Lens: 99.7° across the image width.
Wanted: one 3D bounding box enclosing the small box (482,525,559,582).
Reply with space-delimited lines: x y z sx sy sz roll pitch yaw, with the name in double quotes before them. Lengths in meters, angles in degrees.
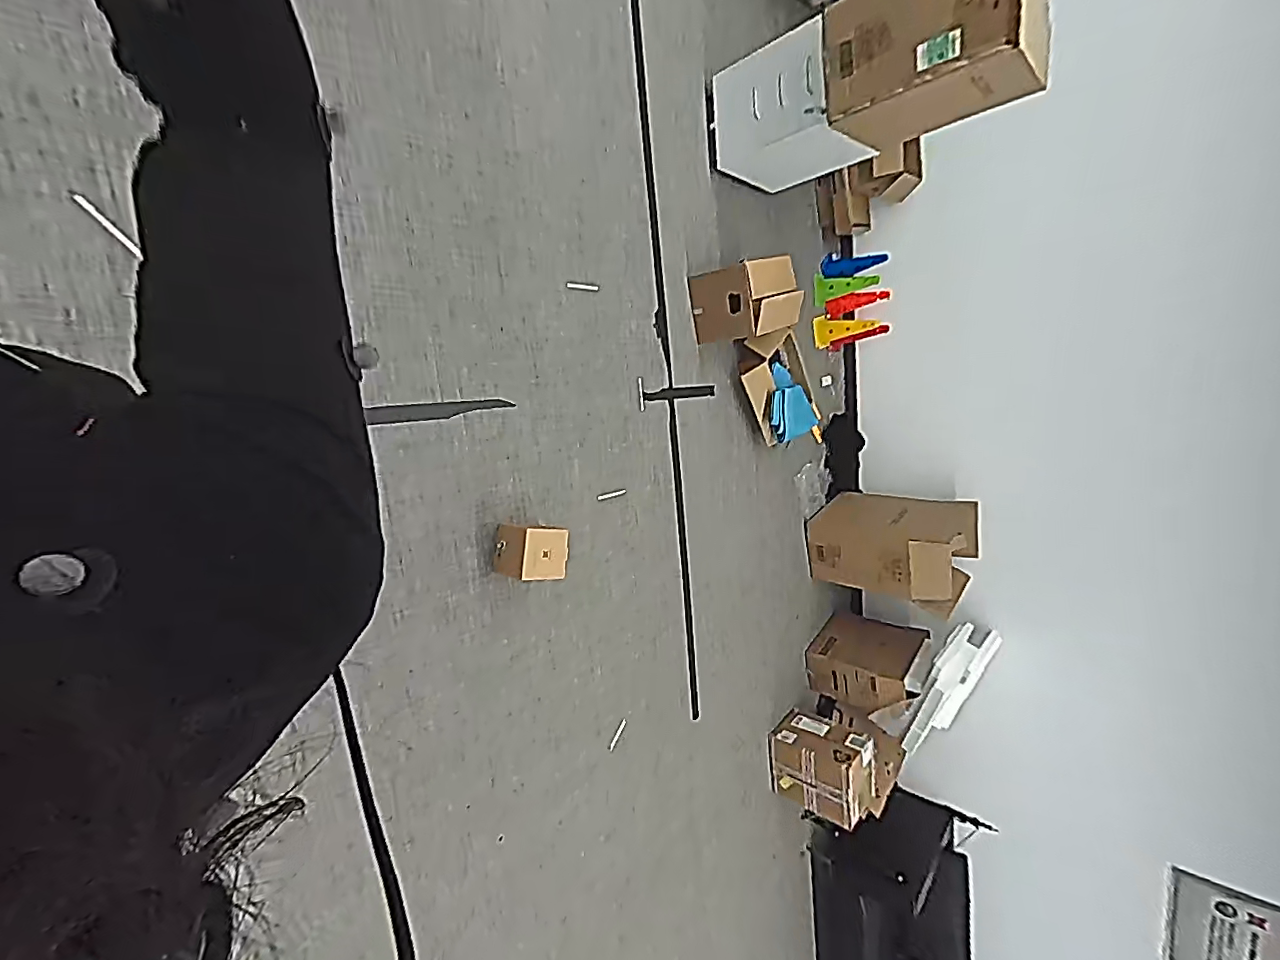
"small box" -0.395 0.241 1.786 0.179 0.176 0.168 8 85 -47
